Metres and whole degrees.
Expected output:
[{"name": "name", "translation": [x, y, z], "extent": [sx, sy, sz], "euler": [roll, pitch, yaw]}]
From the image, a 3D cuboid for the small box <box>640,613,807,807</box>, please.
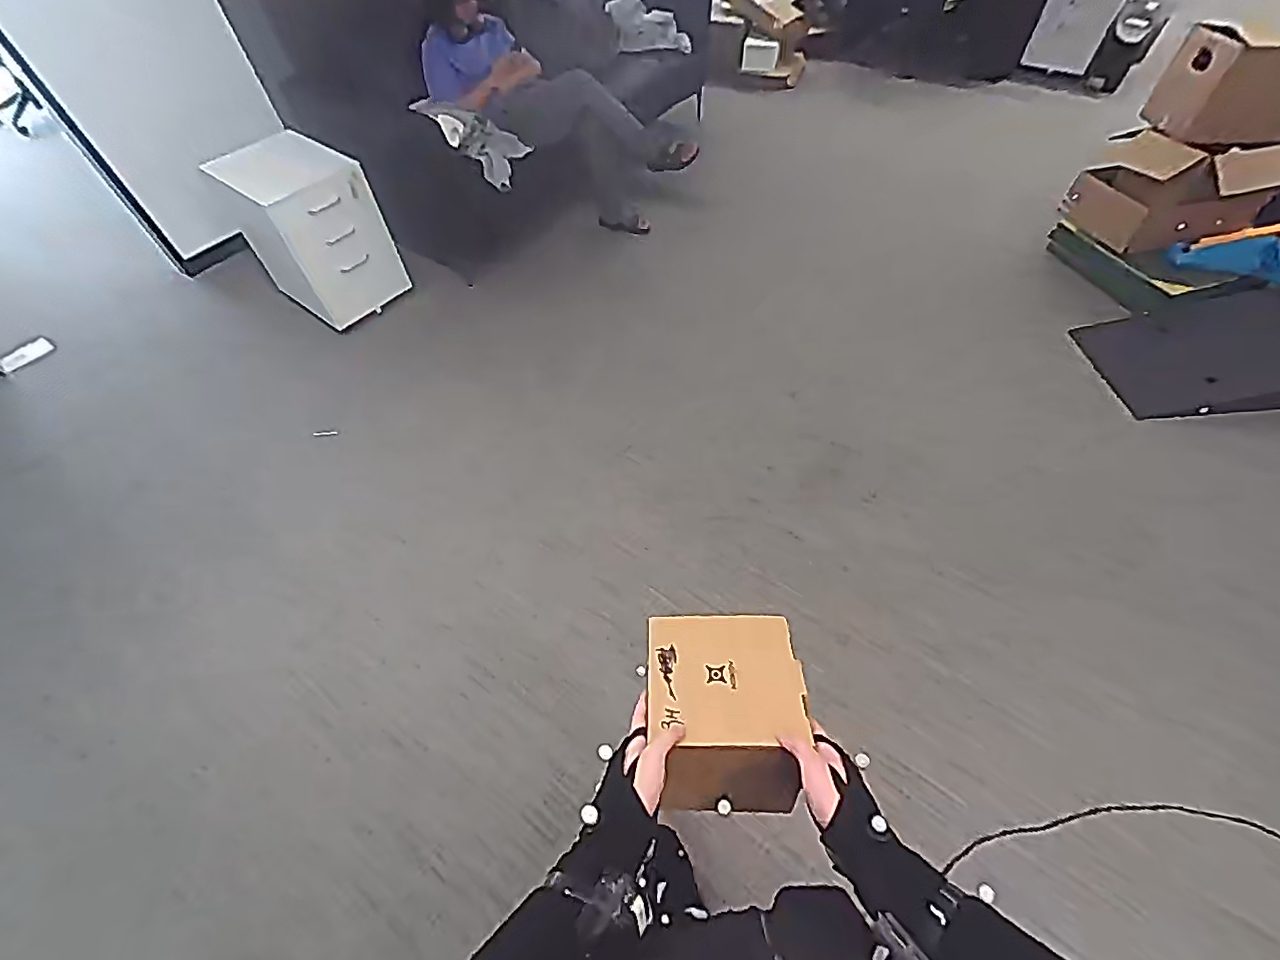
[{"name": "small box", "translation": [0.090, 0.286, 0.675], "extent": [0.179, 0.176, 0.168], "euler": [1, 38, 1]}]
